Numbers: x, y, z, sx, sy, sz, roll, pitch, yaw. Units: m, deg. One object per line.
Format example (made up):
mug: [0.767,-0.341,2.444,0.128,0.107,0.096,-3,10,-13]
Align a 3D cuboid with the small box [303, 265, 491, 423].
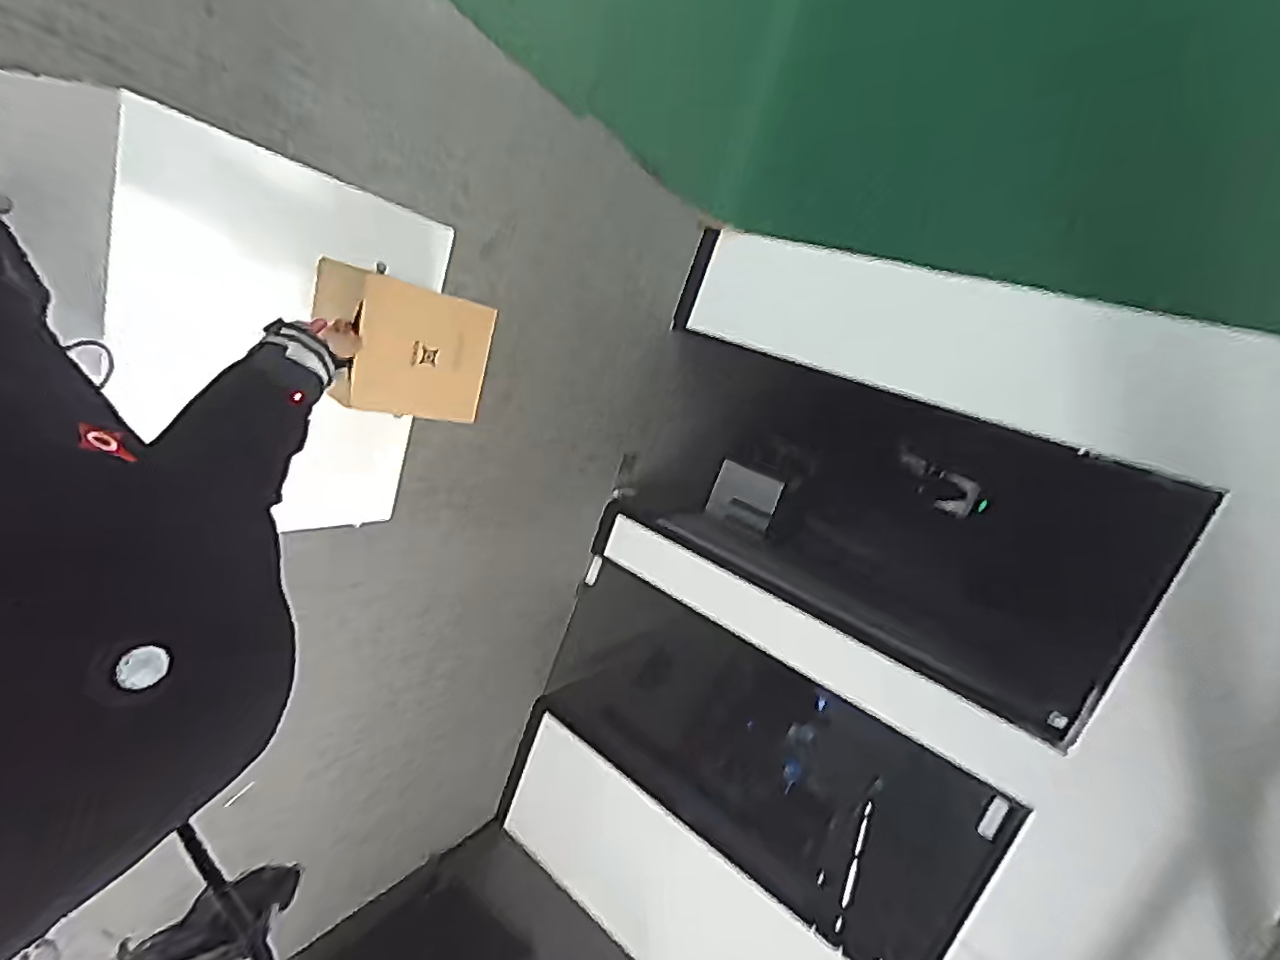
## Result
small box: [-0.338,-0.186,0.743,0.179,0.176,0.168,-1,112,-49]
